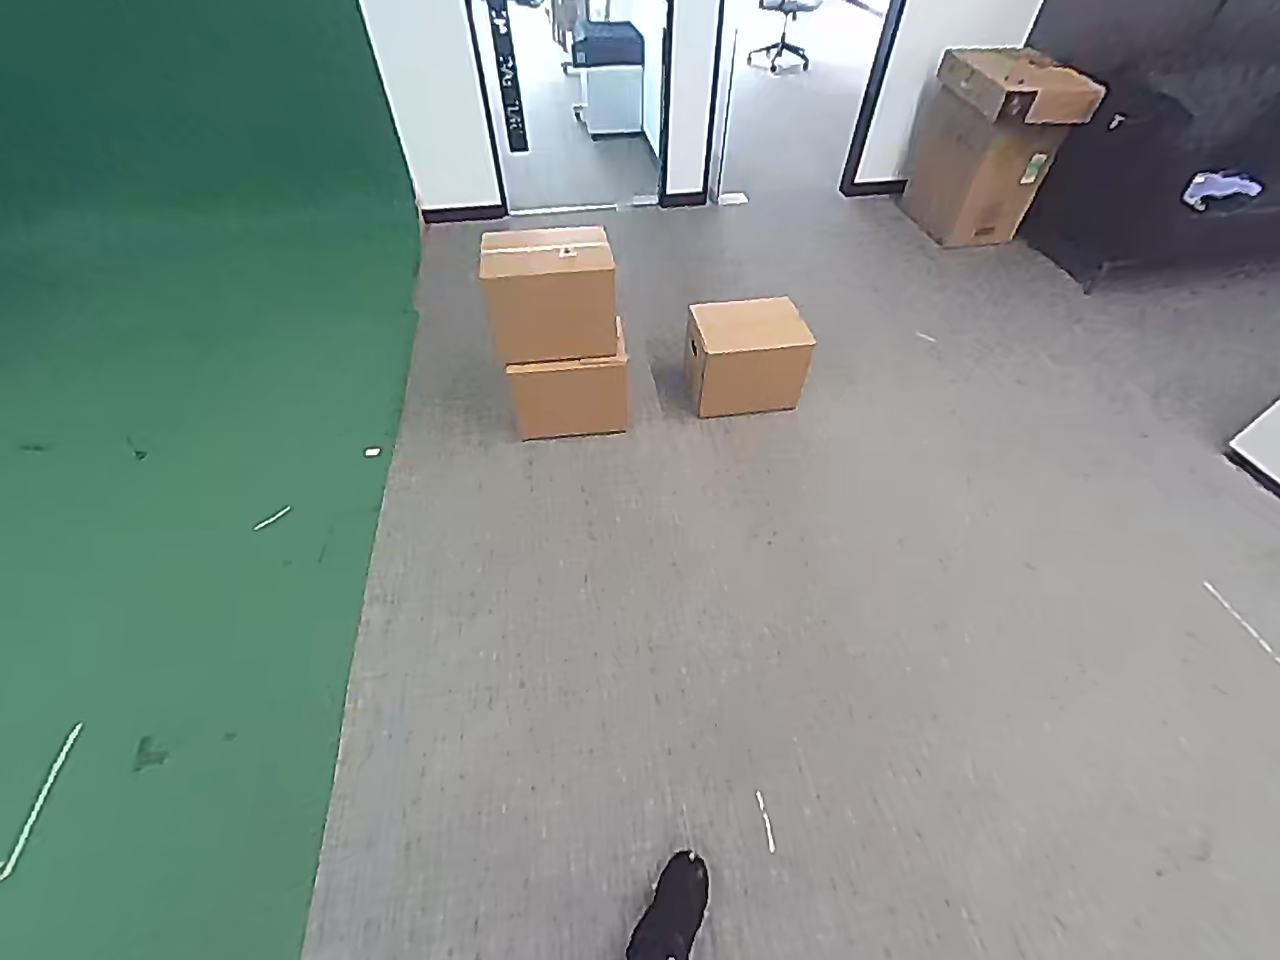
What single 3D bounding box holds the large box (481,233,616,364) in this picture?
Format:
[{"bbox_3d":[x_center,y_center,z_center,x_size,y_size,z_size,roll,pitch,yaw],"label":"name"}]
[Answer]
[{"bbox_3d":[-0.297,-0.609,1.809,0.408,0.320,0.320,-5,46,-6],"label":"large box"}]
